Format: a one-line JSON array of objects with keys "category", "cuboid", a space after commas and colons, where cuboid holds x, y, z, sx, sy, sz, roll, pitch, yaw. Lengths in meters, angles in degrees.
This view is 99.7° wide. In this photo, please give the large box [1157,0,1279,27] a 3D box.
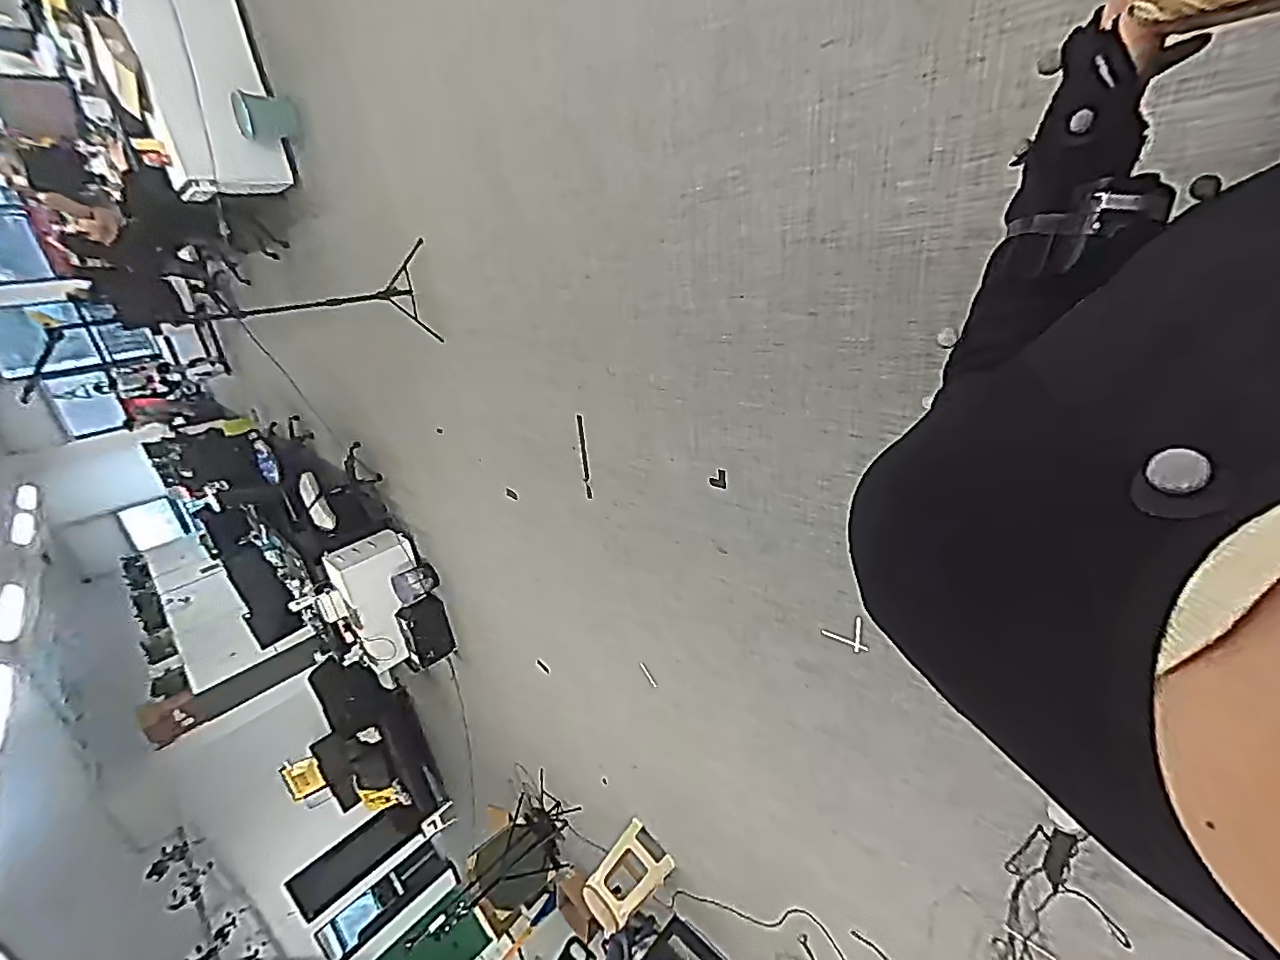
[{"category": "large box", "cuboid": [0.393, -0.342, 0.093, 0.408, 0.320, 0.320, 13, 129, 39]}]
